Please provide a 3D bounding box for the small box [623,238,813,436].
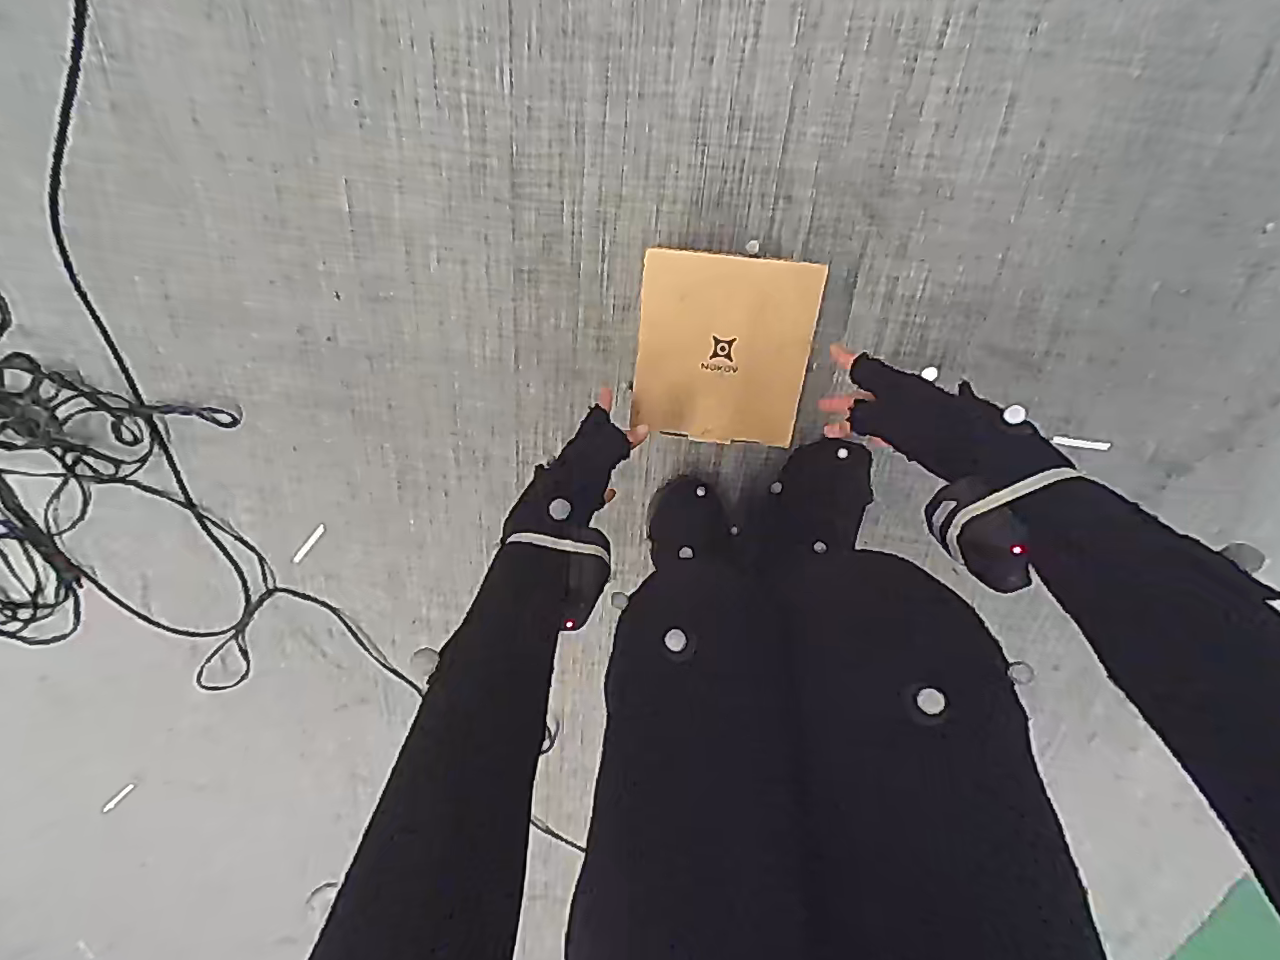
[{"bbox_3d":[0.076,-0.165,0.597,0.168,0.176,0.179,6,115,3],"label":"small box"}]
